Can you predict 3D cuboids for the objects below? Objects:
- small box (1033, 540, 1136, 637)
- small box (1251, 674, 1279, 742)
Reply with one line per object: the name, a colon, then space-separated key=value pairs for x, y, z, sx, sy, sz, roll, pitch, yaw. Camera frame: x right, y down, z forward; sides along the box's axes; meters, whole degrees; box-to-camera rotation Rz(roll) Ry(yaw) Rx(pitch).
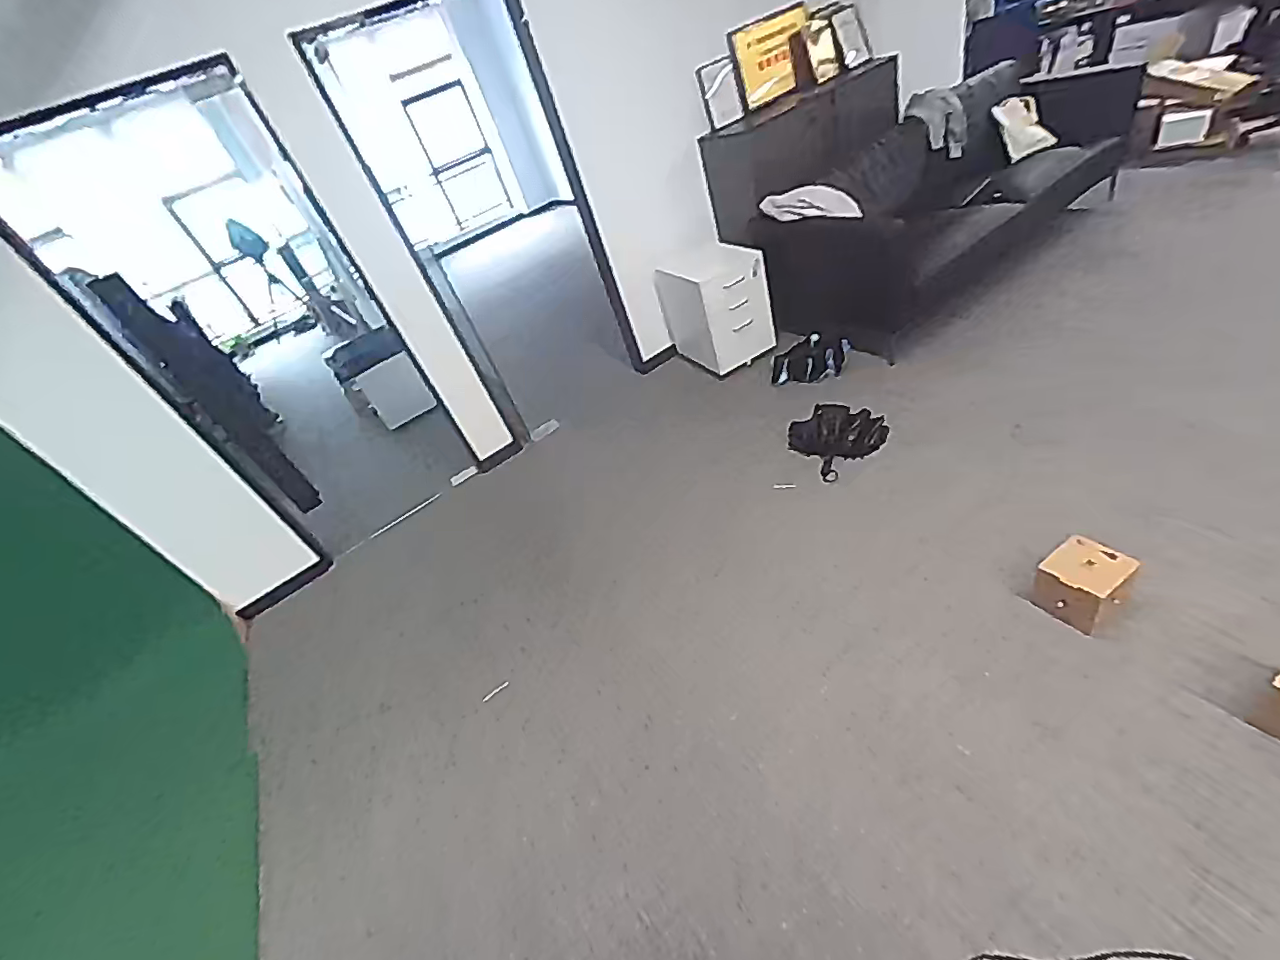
small box: x=1.258 y=0.312 z=1.543 sx=0.179 sy=0.176 sz=0.168 roll=-33 pitch=37 yaw=-14
small box: x=1.496 y=0.494 z=1.172 sx=0.179 sy=0.176 sz=0.168 roll=-34 pitch=36 yaw=-13
